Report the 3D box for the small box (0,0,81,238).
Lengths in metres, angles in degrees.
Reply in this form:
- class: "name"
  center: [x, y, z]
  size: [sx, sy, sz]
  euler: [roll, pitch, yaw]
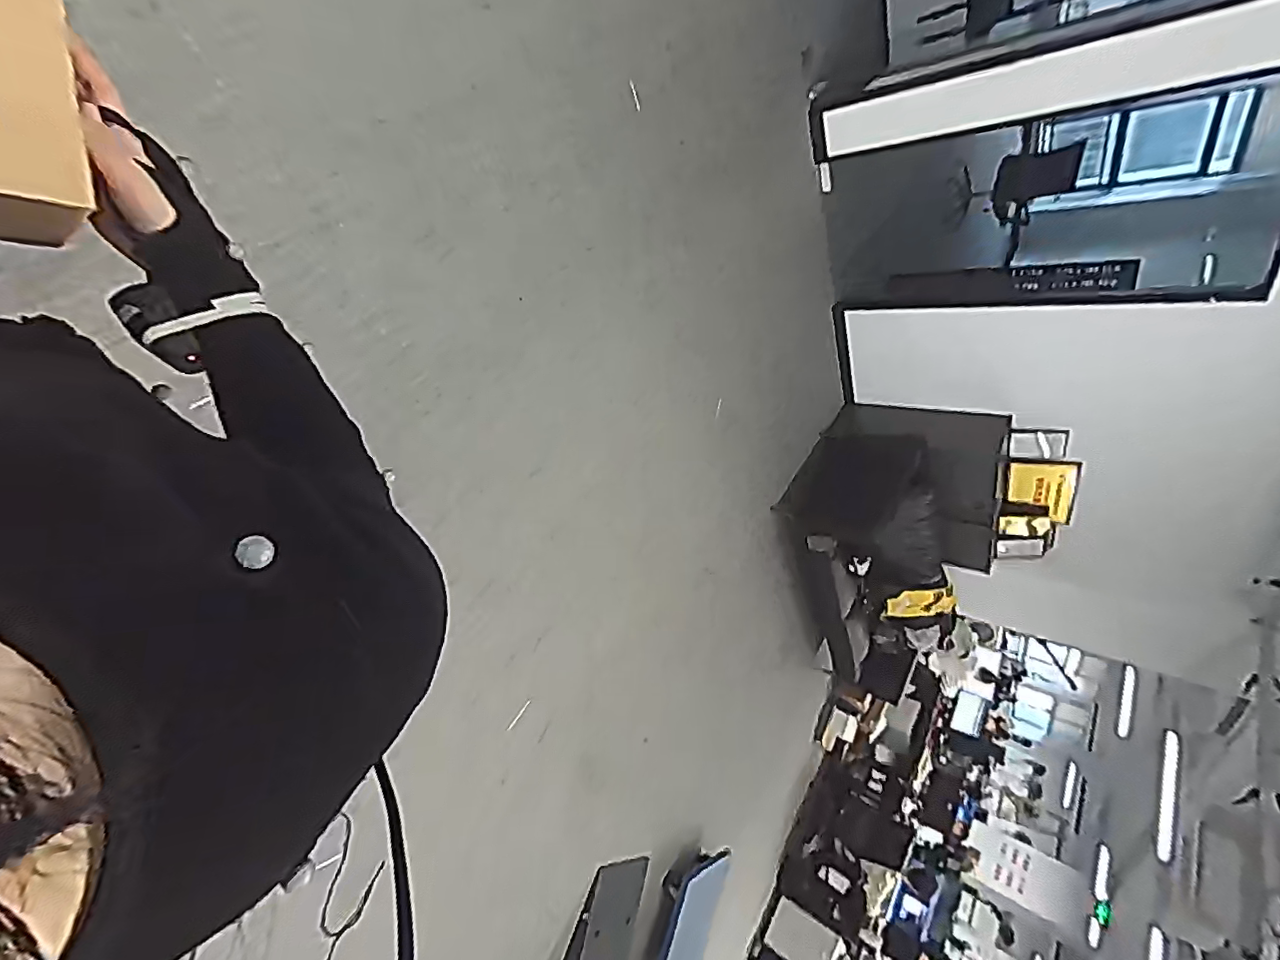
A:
- class: "small box"
  center: [-0.435, -0.245, 0.289]
  size: [0.168, 0.176, 0.179]
  euler: [-11, 105, -51]
